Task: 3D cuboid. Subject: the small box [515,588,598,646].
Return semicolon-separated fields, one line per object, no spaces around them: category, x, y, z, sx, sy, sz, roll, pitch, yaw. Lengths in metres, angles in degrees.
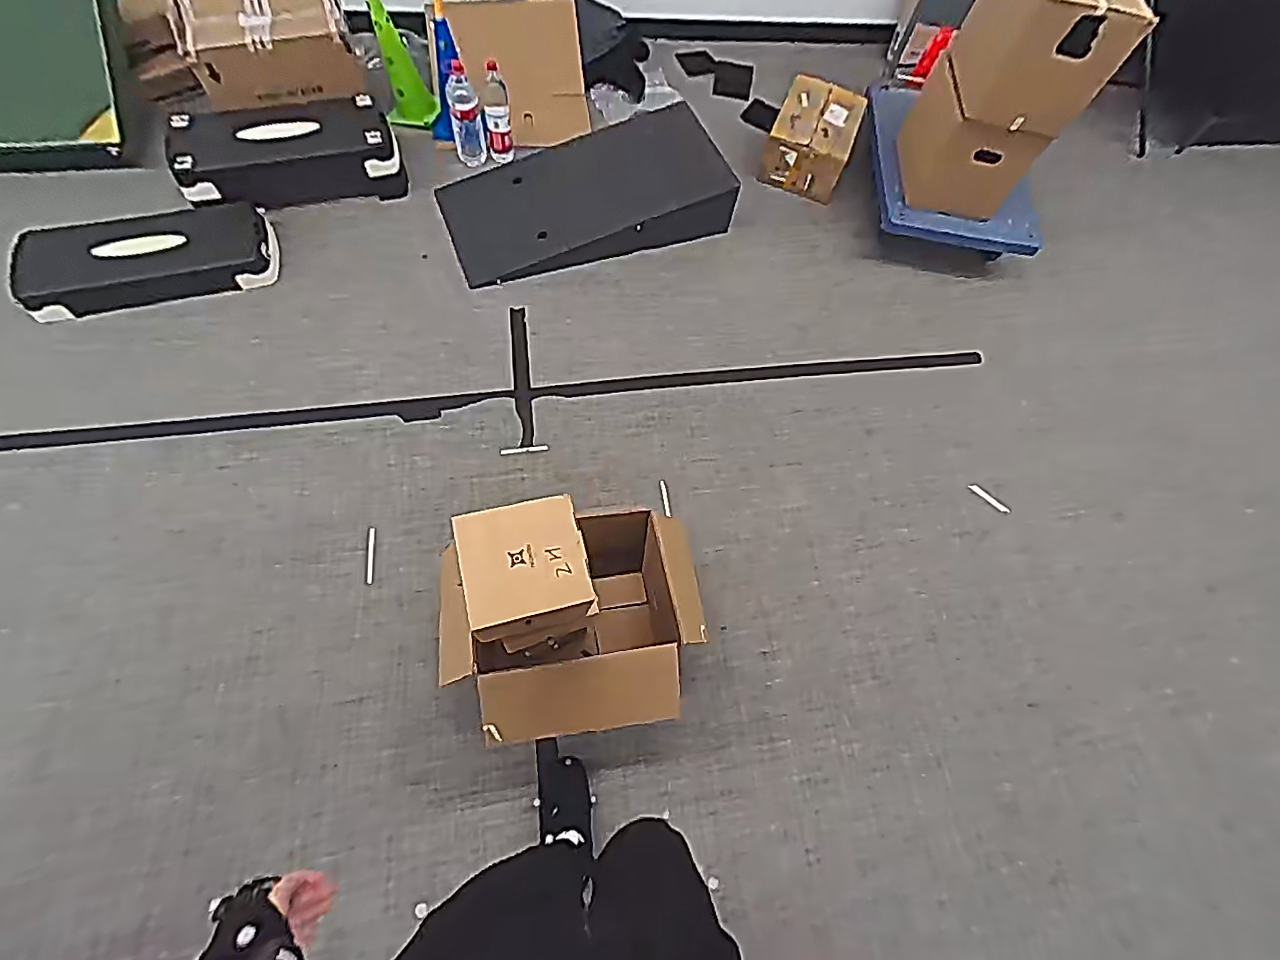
small box;-0.207;0.238;1.154;0.179;0.176;0.168;-25;74;-19

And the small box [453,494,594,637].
small box;-0.178;0.139;0.840;0.179;0.176;0.168;-11;72;-15
